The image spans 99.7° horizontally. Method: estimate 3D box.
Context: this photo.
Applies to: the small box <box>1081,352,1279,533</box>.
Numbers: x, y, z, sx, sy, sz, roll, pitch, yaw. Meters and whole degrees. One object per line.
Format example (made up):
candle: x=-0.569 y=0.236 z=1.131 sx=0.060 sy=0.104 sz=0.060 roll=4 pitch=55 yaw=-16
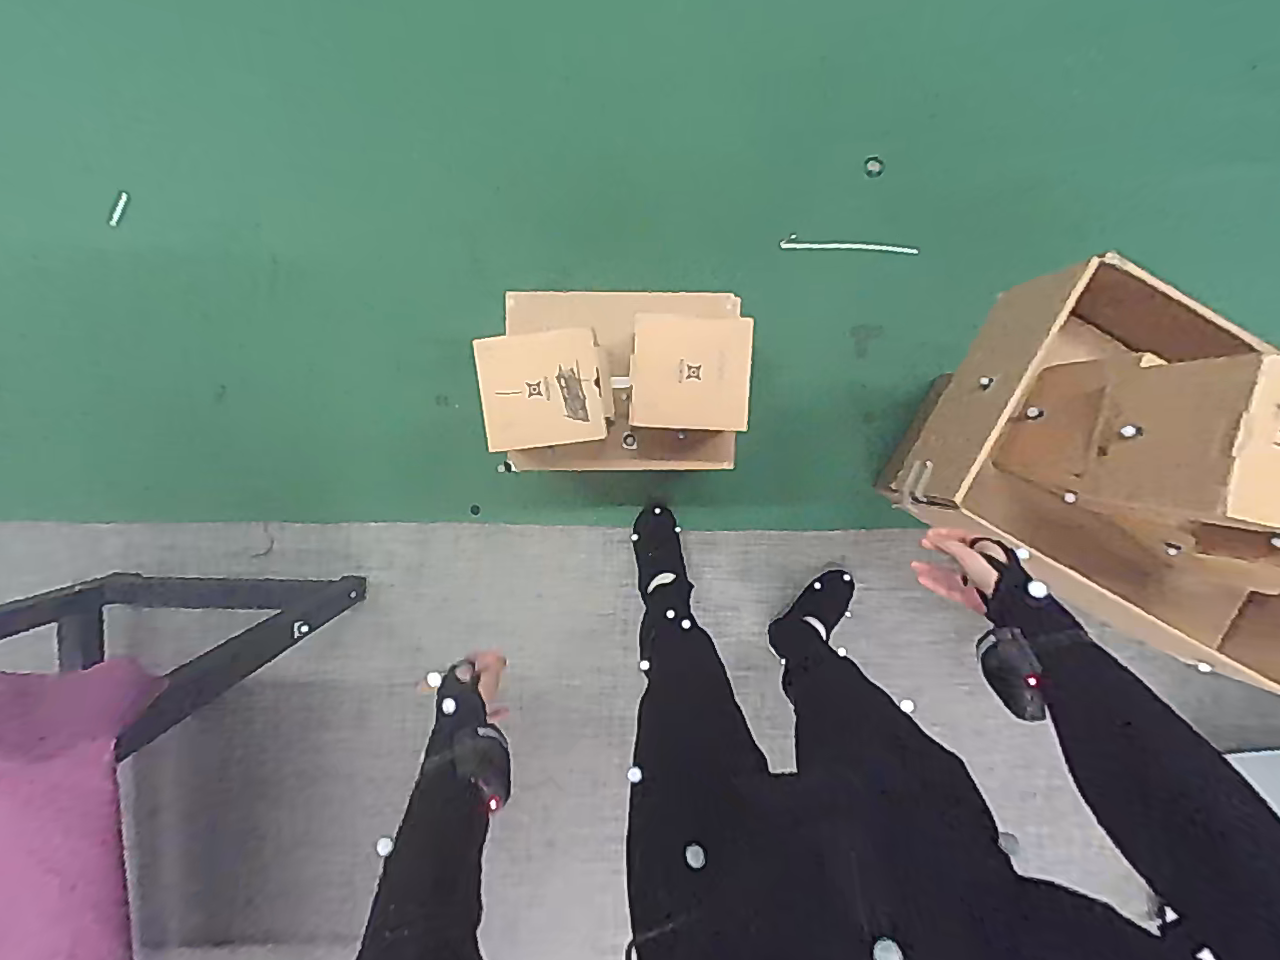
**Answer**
small box: x=0.668 y=-0.036 z=0.615 sx=0.179 sy=0.176 sz=0.168 roll=11 pitch=94 yaw=-3
